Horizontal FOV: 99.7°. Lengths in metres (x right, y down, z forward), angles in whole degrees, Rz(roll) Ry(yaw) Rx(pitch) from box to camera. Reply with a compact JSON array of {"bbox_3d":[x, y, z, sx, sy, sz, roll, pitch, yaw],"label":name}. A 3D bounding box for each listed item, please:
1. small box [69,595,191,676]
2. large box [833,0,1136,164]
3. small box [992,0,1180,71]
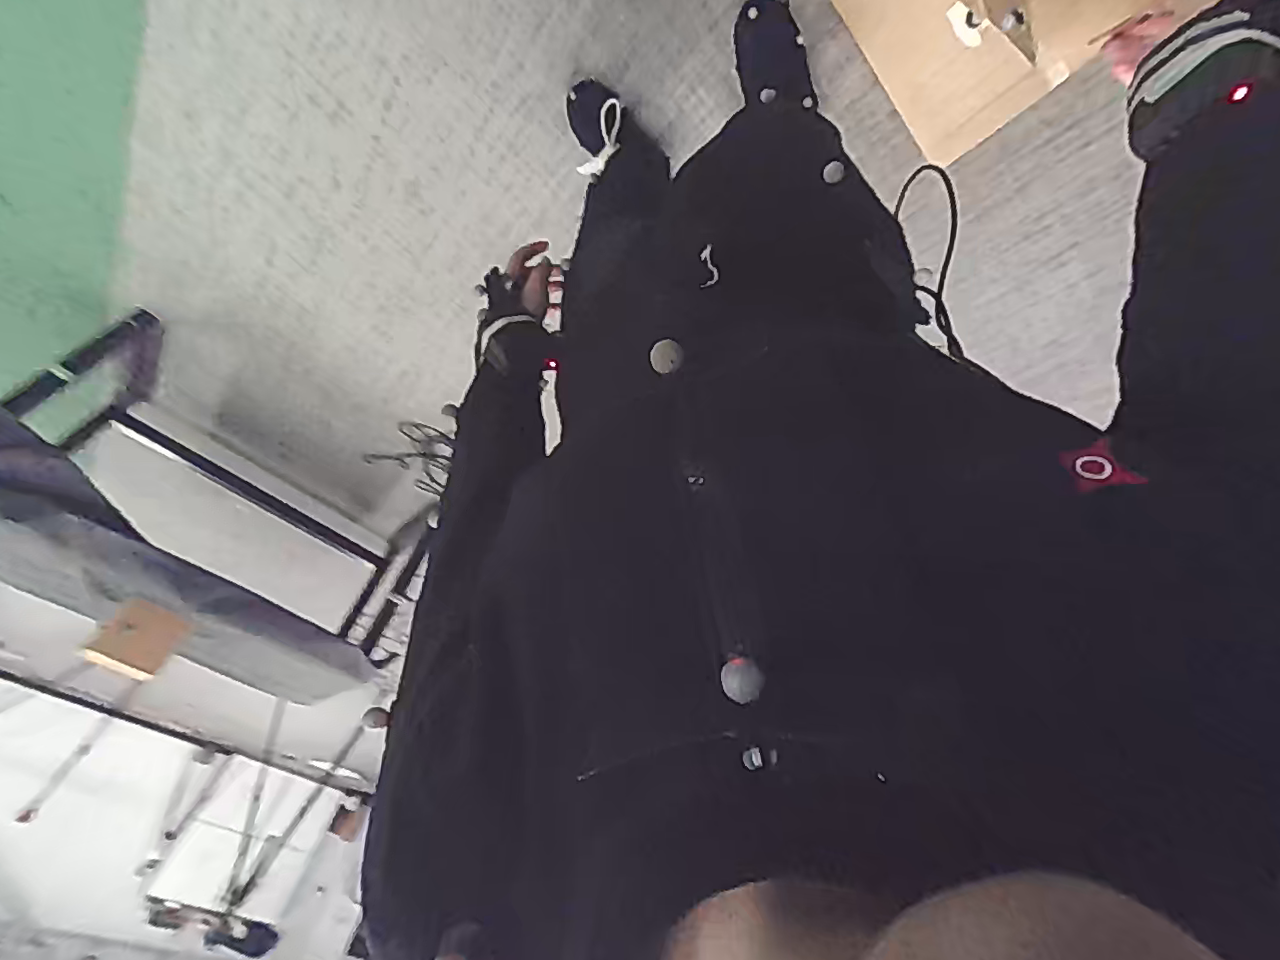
[{"bbox_3d":[-1.454,0.441,1.547,0.168,0.176,0.179,-19,130,35],"label":"small box"},{"bbox_3d":[0.419,-0.728,0.695,0.408,0.320,0.320,37,135,-25],"label":"large box"},{"bbox_3d":[0.347,-0.457,0.386,0.168,0.176,0.179,-20,137,33],"label":"small box"}]
